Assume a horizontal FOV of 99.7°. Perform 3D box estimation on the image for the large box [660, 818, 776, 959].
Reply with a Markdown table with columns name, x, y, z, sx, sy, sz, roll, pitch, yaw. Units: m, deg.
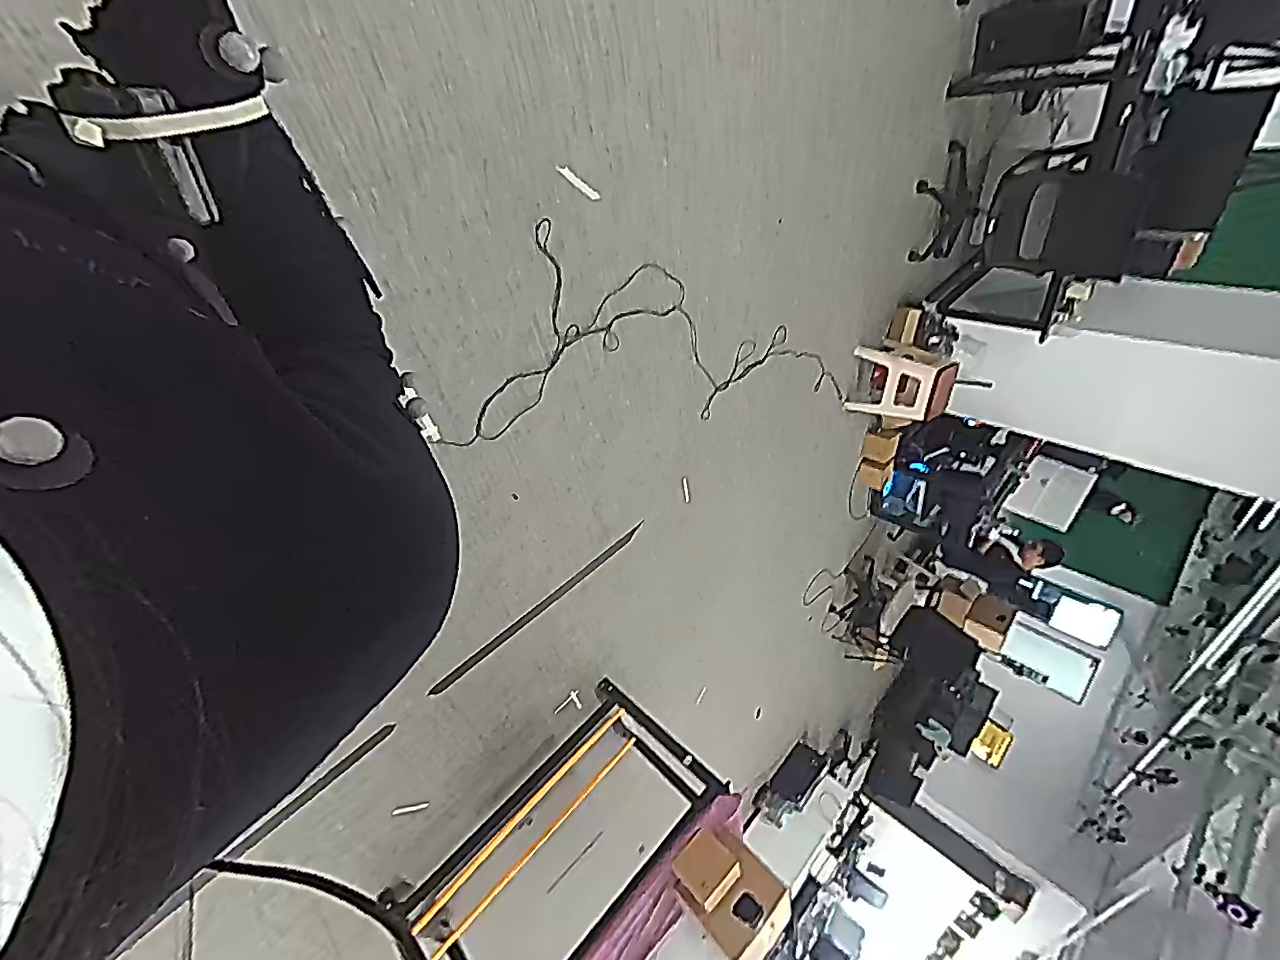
| name | x | y | z | sx | sy | sz | roll | pitch | yaw |
| --- | --- | --- | --- | --- | --- | --- | --- | --- | --- |
| large box | 0.317 | 1.659 | 2.168 | 0.320 | 0.320 | 0.408 | -37 | 133 | -26 |
